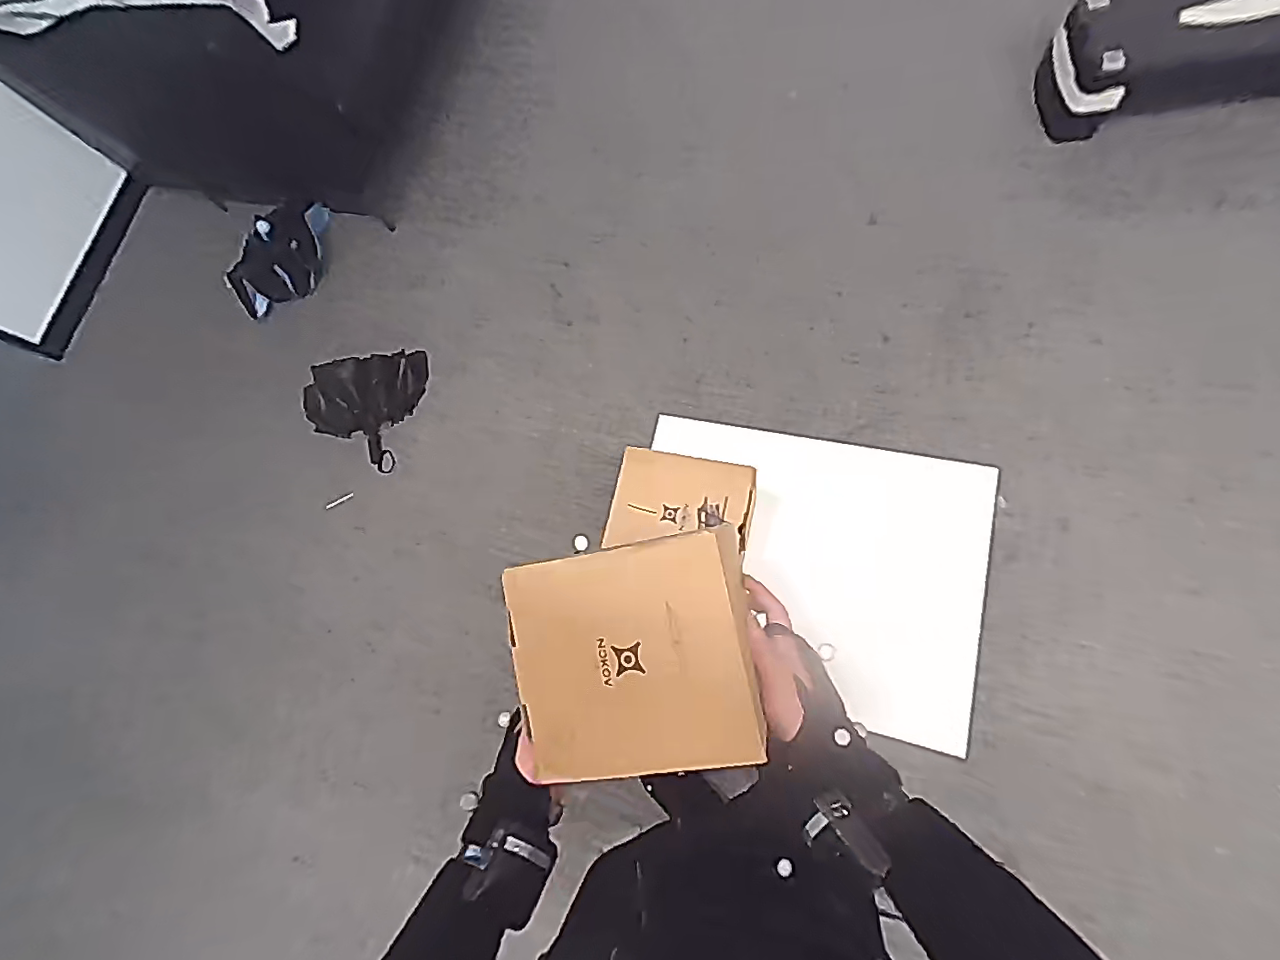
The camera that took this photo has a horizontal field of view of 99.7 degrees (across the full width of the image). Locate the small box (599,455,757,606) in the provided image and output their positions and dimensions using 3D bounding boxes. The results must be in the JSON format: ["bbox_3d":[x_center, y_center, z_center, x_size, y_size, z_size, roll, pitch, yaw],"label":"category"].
[{"bbox_3d":[0.064,0.078,0.763,0.179,0.176,0.168,10,77,15],"label":"small box"}]
